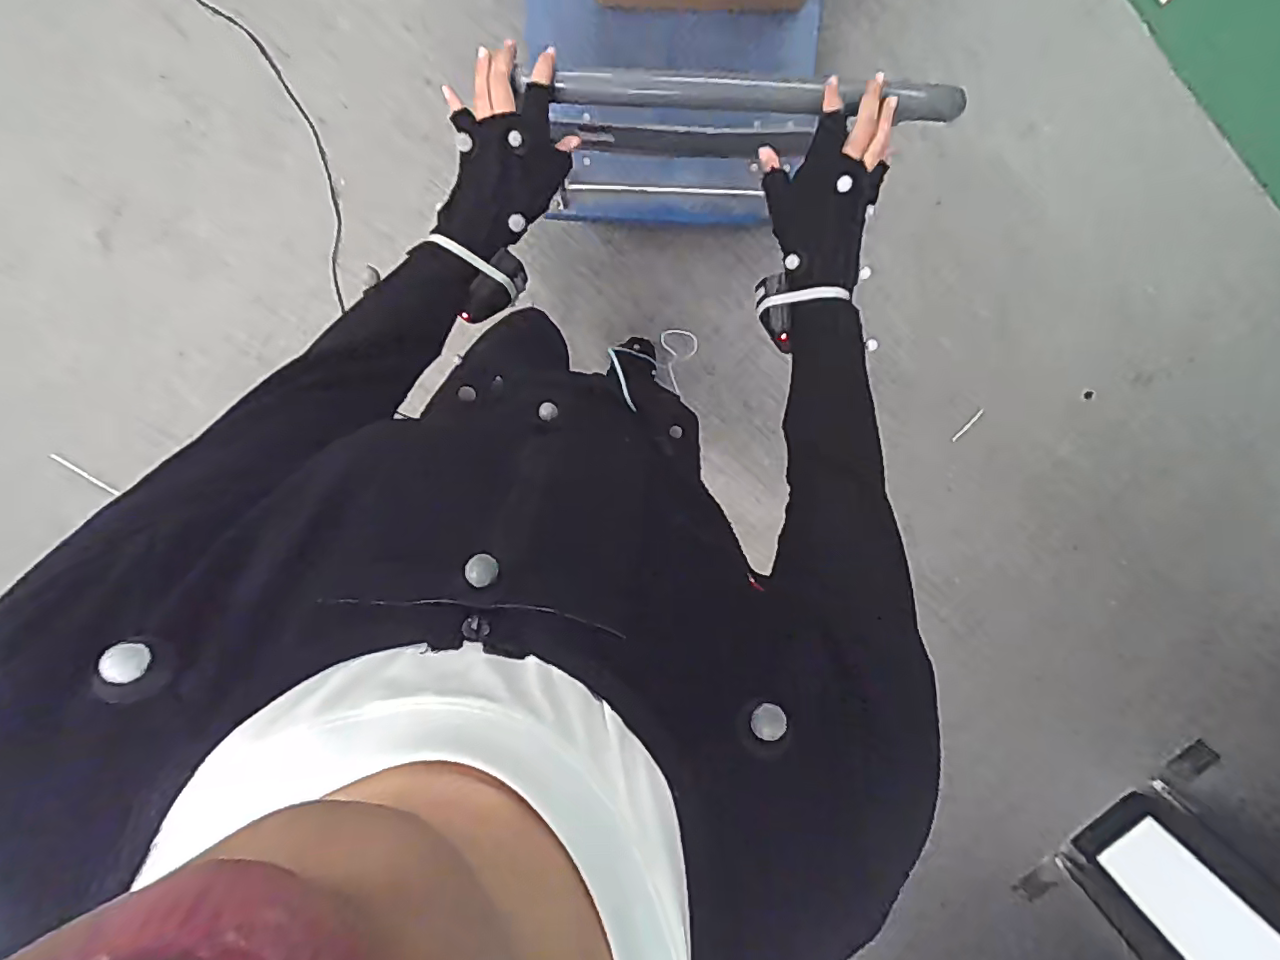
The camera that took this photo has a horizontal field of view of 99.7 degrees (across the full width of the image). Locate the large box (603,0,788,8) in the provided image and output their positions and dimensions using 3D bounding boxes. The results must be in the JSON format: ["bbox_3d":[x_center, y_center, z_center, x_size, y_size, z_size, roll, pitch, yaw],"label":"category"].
[{"bbox_3d":[0.123,-1.033,0.874,0.408,0.320,0.320,-2,106,0],"label":"large box"}]
